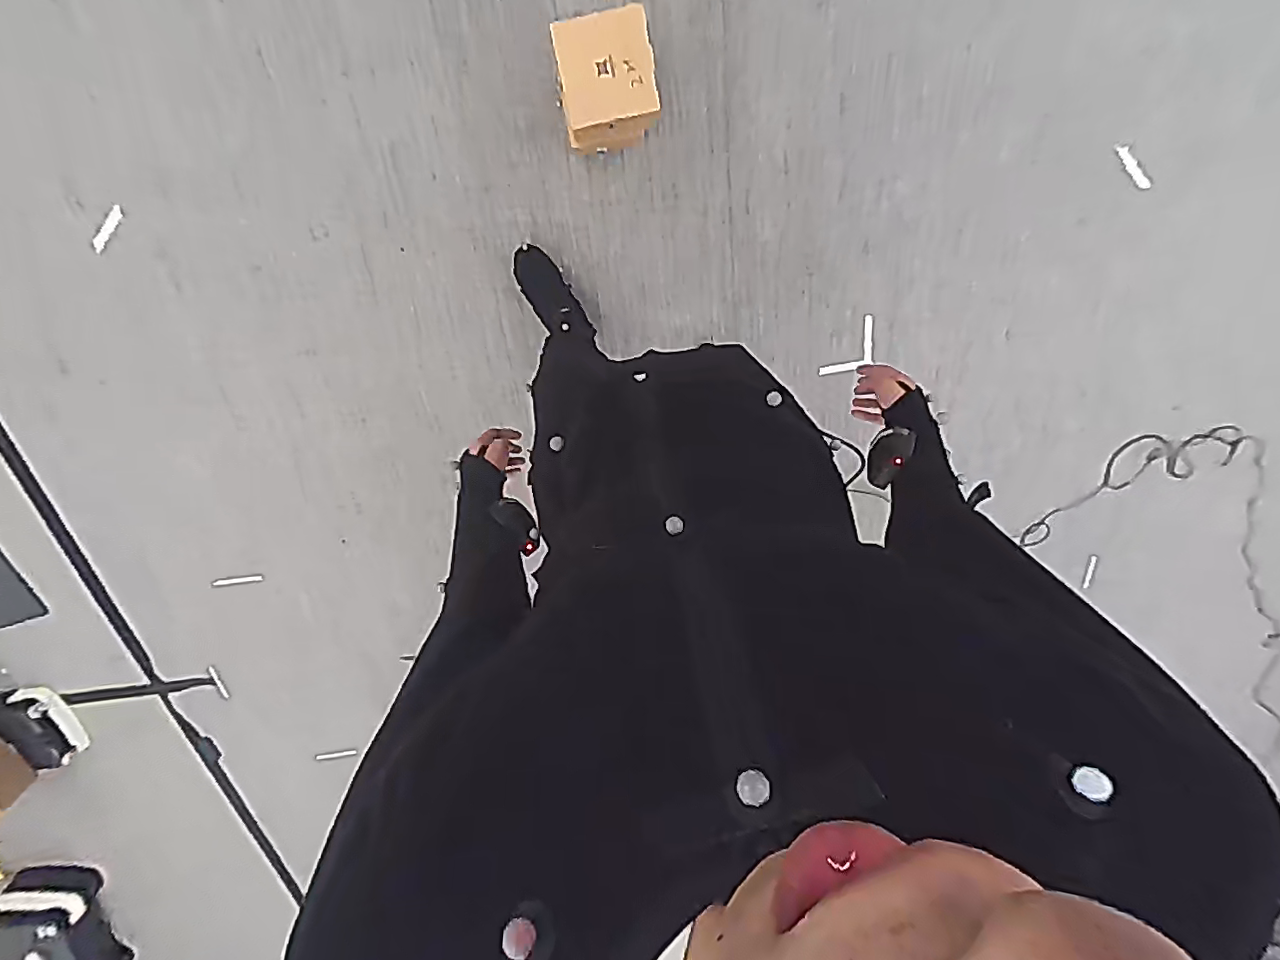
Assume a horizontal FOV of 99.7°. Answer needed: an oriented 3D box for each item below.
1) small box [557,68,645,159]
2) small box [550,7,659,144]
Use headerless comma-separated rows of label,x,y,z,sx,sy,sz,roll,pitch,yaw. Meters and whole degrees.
small box,-0.089,-0.844,1.214,0.168,0.176,0.179,-11,115,1
small box,-0.065,-0.782,1.064,0.179,0.176,0.168,-11,114,1
